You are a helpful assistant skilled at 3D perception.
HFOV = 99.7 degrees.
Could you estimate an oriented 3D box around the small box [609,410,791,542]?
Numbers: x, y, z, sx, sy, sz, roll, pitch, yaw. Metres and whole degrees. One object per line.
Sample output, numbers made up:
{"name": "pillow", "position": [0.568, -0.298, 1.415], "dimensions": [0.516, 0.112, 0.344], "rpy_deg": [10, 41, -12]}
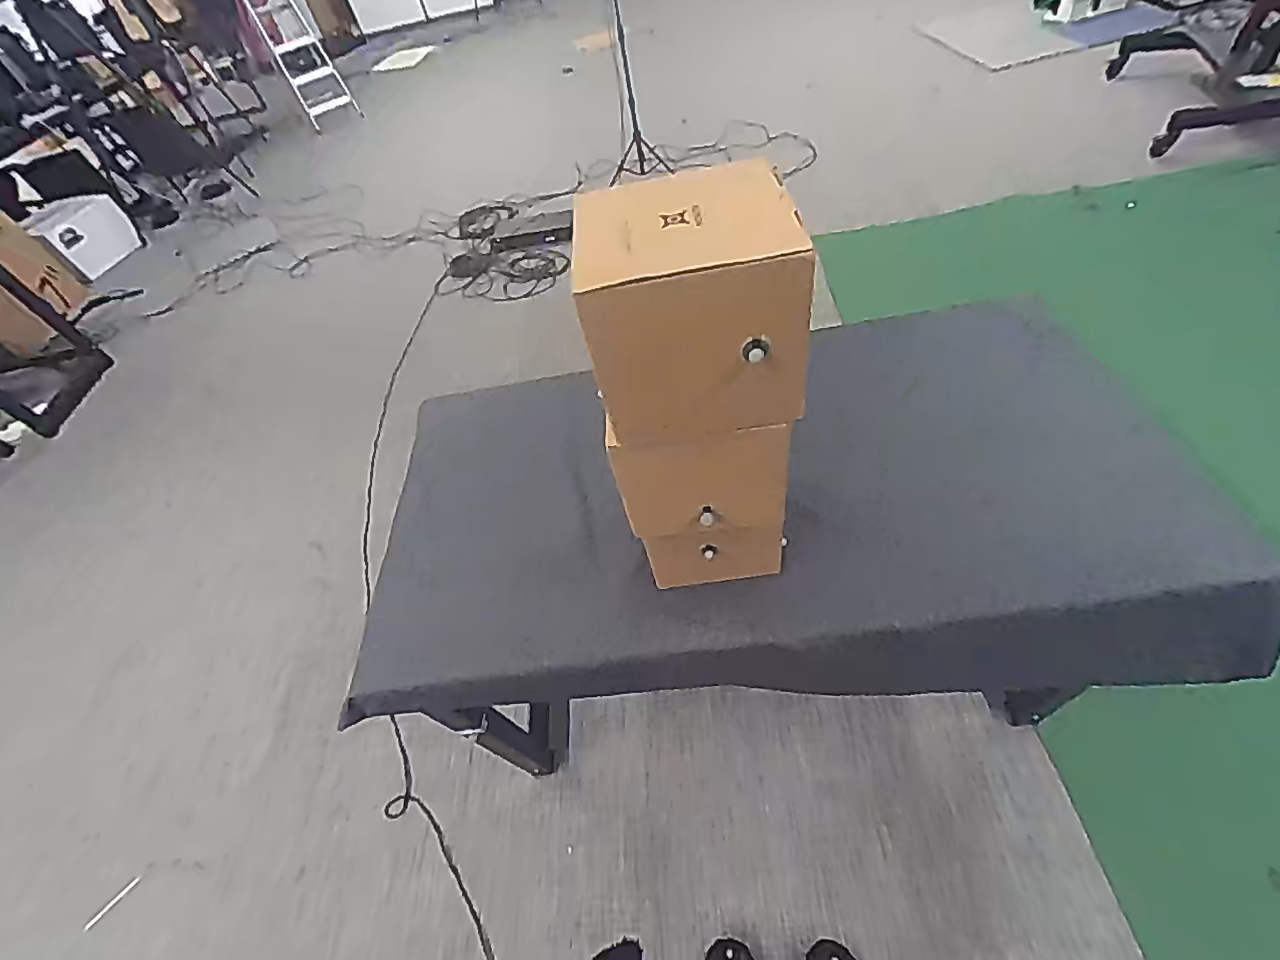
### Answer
{"name": "small box", "position": [0.065, -0.048, 0.622], "dimensions": [0.179, 0.176, 0.168], "rpy_deg": [-10, 52, 6]}

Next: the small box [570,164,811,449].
{"name": "small box", "position": [0.044, -0.150, 0.494], "dimensions": [0.179, 0.176, 0.168], "rpy_deg": [-10, 49, 6]}

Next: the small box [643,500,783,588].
{"name": "small box", "position": [0.095, 0.034, 0.758], "dimensions": [0.179, 0.176, 0.168], "rpy_deg": [-10, 50, 7]}
